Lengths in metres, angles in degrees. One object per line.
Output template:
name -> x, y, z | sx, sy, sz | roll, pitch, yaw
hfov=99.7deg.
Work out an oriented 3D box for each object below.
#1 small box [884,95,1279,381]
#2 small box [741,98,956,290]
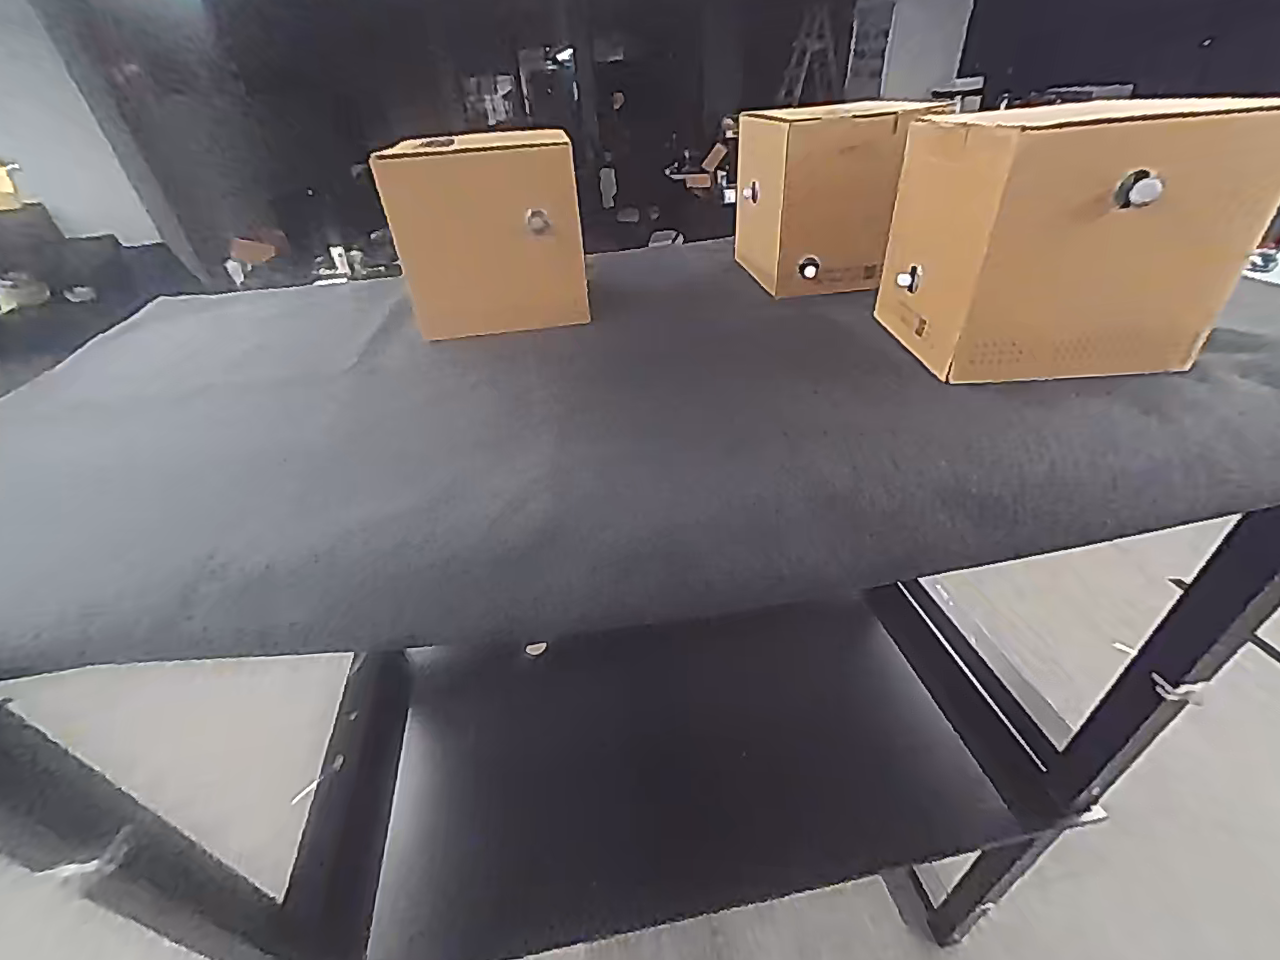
small box -> 0.315, -0.188, 0.418 | 0.179, 0.176, 0.168 | -3, 34, 4
small box -> 0.216, -0.322, 0.616 | 0.168, 0.176, 0.179 | -7, 35, -3
